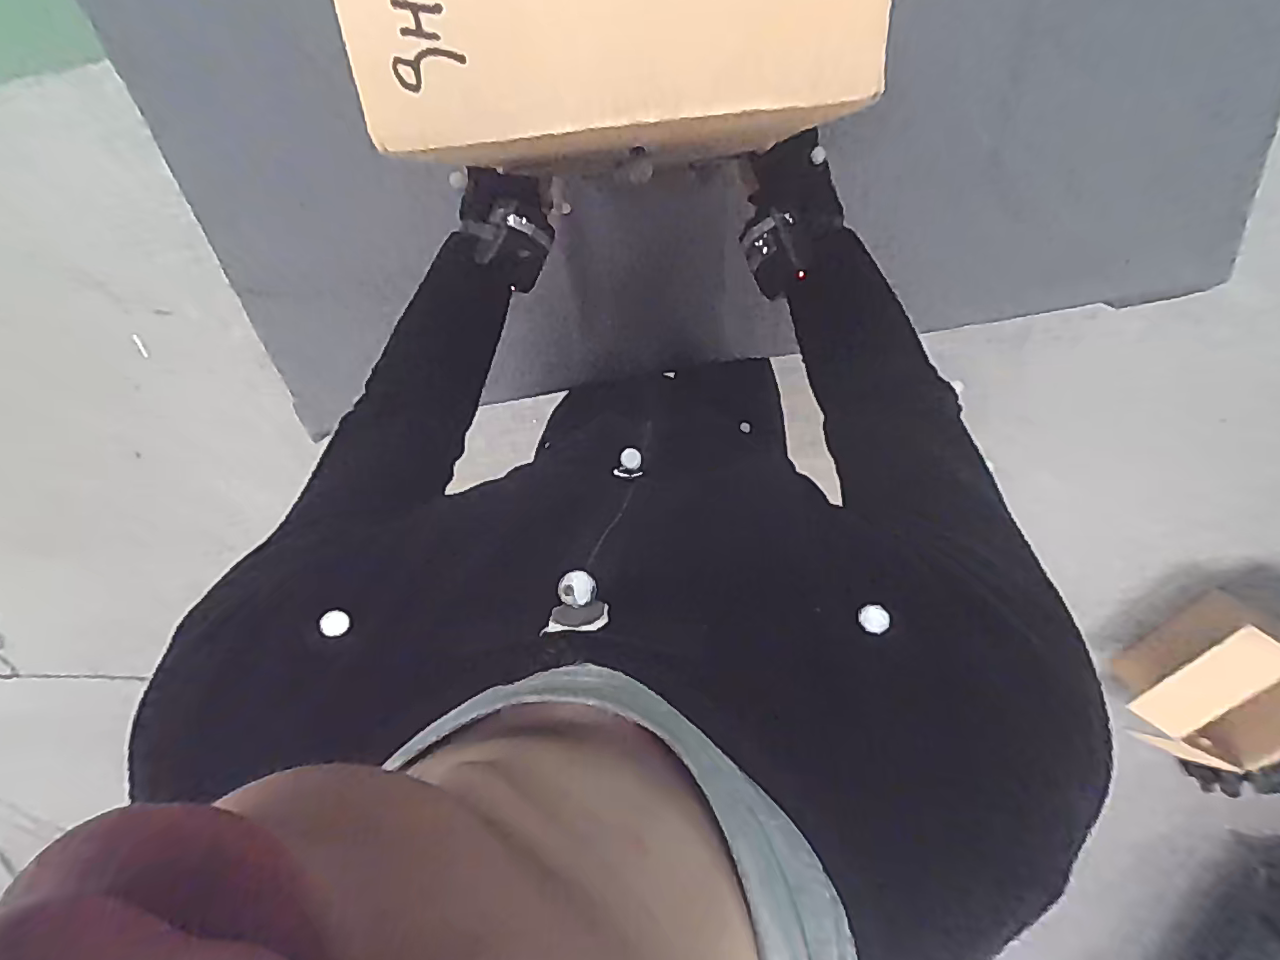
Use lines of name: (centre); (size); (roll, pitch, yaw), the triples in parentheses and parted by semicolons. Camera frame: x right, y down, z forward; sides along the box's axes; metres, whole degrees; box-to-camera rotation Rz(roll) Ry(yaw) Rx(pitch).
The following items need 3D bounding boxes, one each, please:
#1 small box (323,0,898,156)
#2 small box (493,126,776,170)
small box: (-0.012, -0.229, 0.207); (0.179, 0.176, 0.168); (-3, 118, 3)
small box: (-0.008, -0.305, 0.352); (0.179, 0.176, 0.168); (-4, 118, 4)
